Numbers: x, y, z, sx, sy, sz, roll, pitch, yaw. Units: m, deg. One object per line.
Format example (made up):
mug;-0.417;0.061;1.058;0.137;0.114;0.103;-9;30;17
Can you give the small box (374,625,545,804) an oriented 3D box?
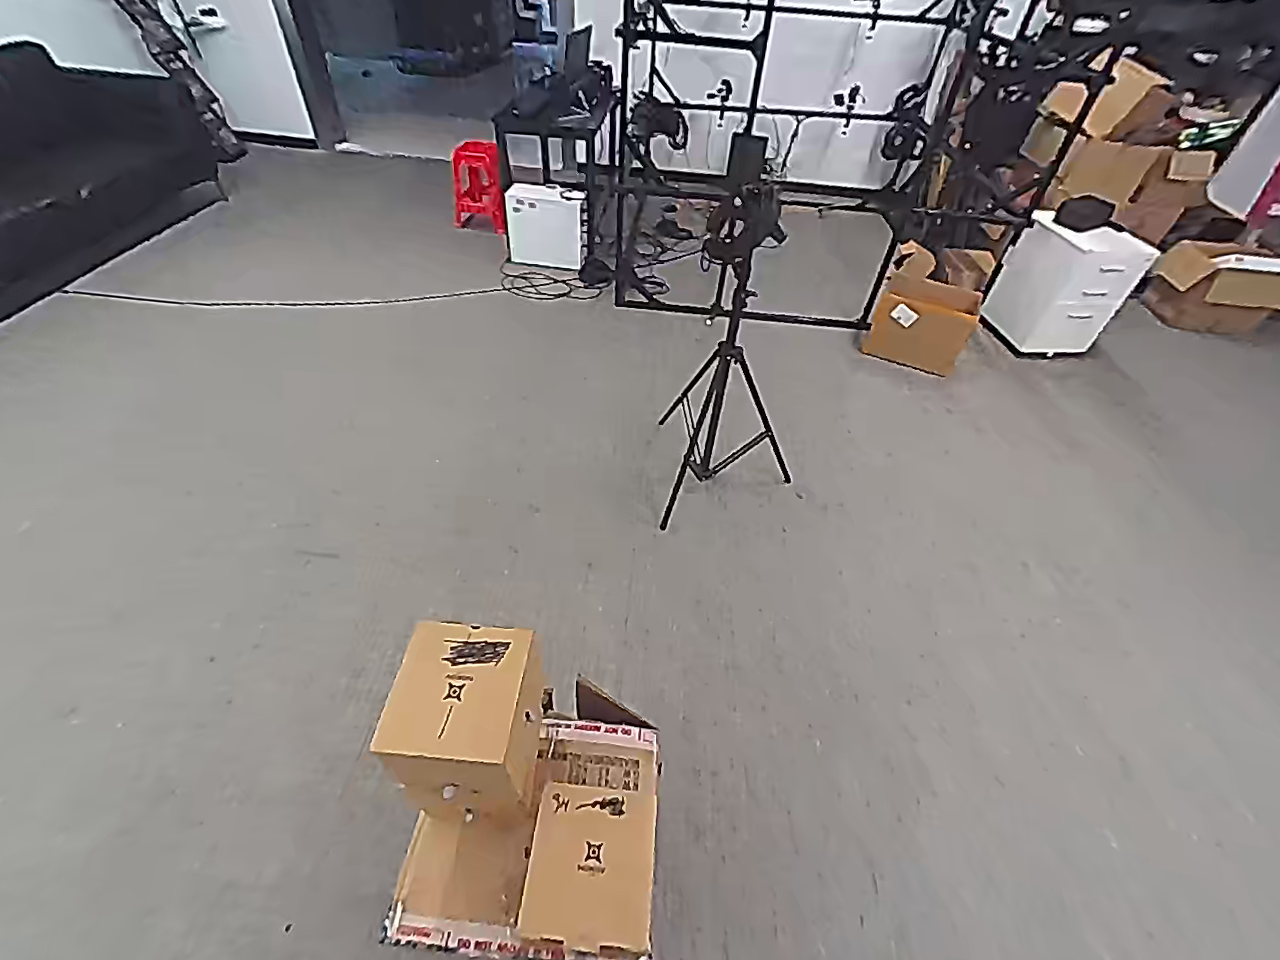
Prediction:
small box;-0.232;0.326;0.752;0.168;0.176;0.179;4;47;2

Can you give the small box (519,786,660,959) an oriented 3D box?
small box;-0.064;0.560;0.767;0.168;0.176;0.179;6;47;0

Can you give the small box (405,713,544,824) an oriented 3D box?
small box;-0.252;0.435;0.875;0.168;0.176;0.179;1;47;0
